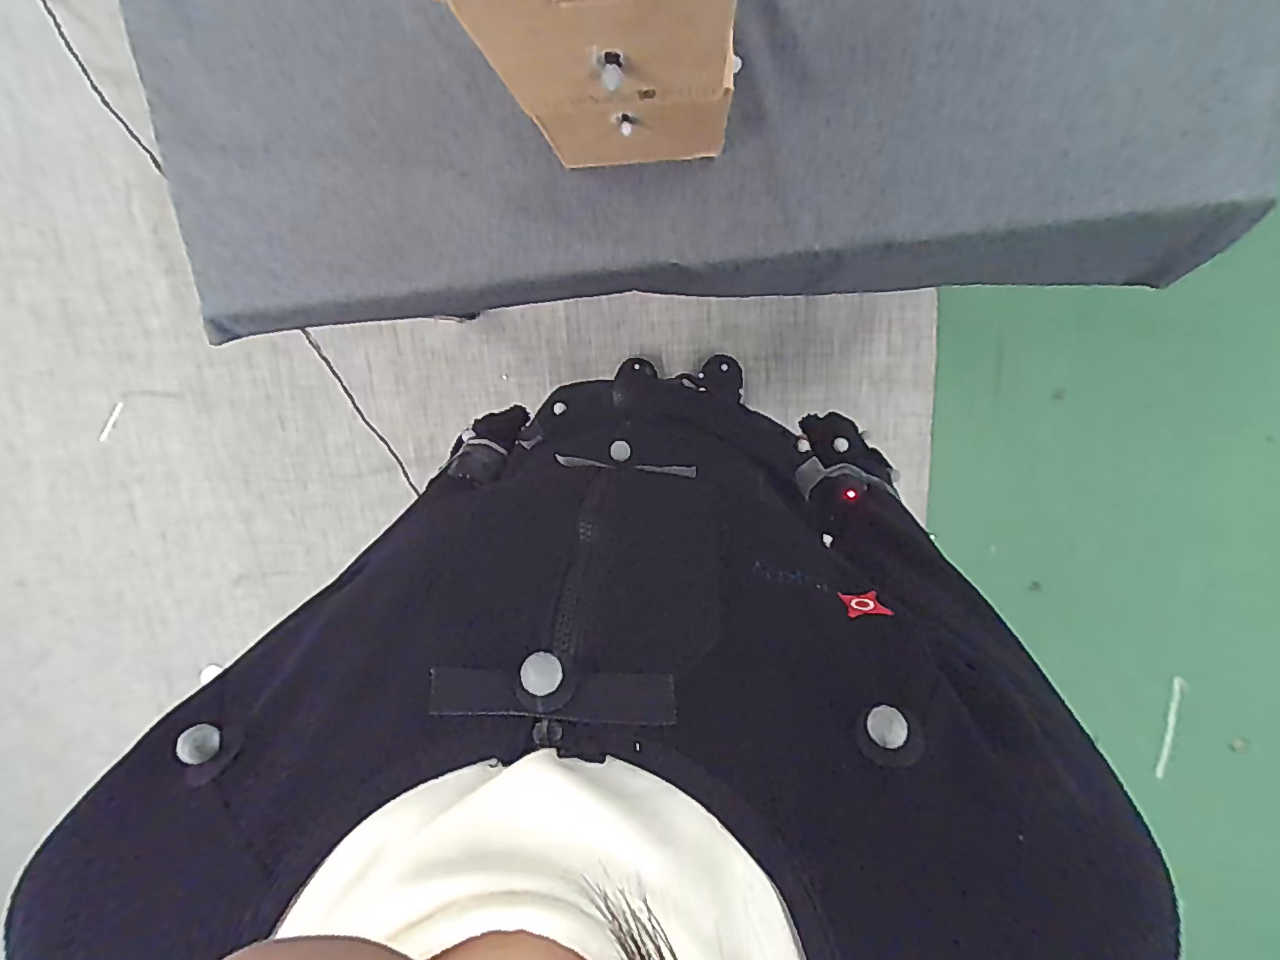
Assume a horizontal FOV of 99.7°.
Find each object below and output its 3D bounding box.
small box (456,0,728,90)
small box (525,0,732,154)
[{"bbox_3d":[-0.025,-0.383,0.352,0.168,0.176,0.179,-1,105,5],"label":"small box"},{"bbox_3d":[-0.008,-0.427,0.508,0.179,0.176,0.168,-2,105,4],"label":"small box"}]
